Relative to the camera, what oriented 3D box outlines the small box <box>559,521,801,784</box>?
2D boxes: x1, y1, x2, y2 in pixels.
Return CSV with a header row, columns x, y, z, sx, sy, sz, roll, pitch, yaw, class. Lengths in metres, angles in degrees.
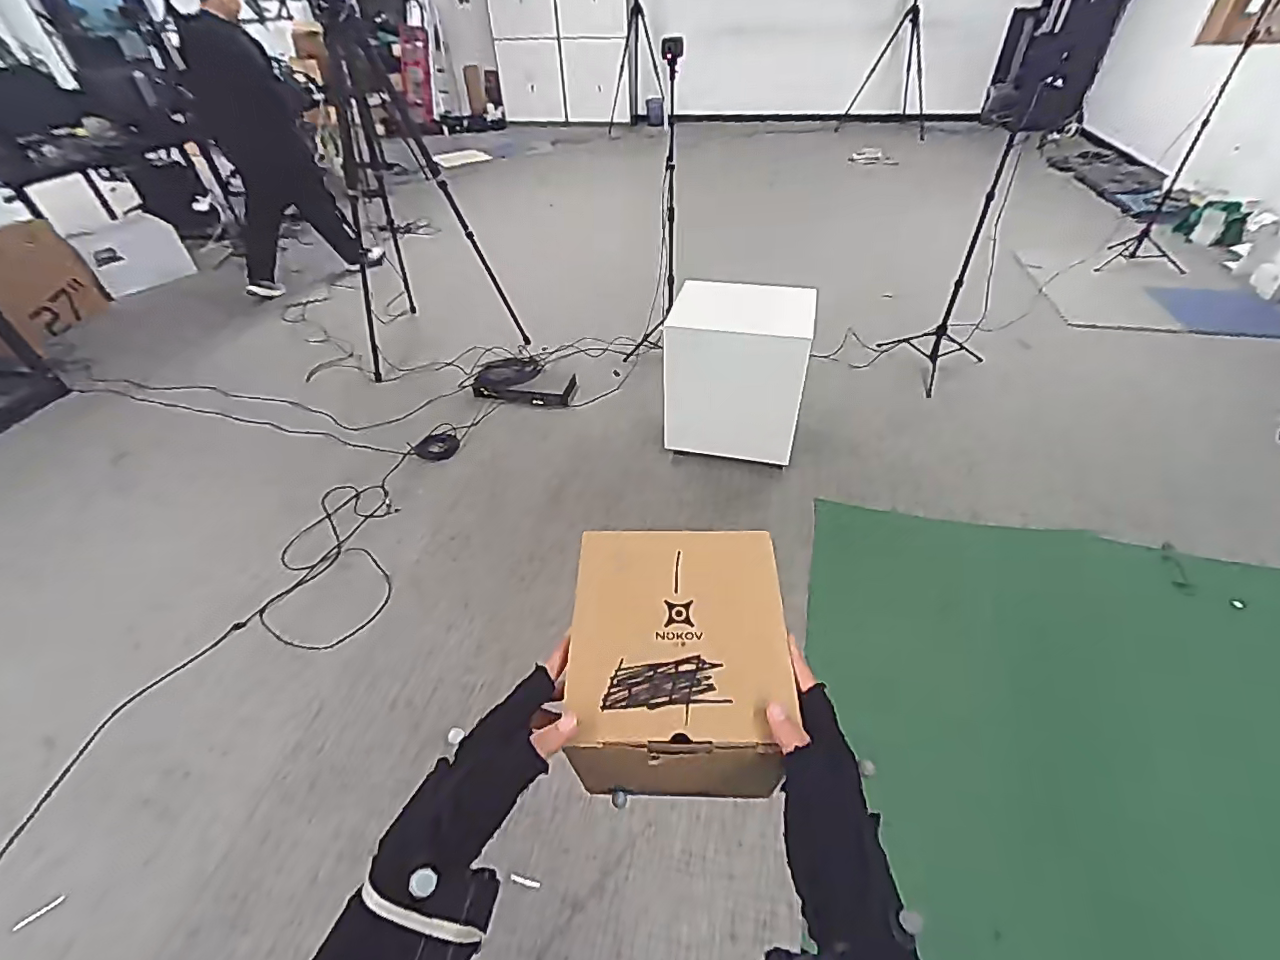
x,y,z,sx,sy,sz,roll,pitch,yaw,class
0.033,0.154,0.473,0.168,0.176,0.179,0,49,3,small box
